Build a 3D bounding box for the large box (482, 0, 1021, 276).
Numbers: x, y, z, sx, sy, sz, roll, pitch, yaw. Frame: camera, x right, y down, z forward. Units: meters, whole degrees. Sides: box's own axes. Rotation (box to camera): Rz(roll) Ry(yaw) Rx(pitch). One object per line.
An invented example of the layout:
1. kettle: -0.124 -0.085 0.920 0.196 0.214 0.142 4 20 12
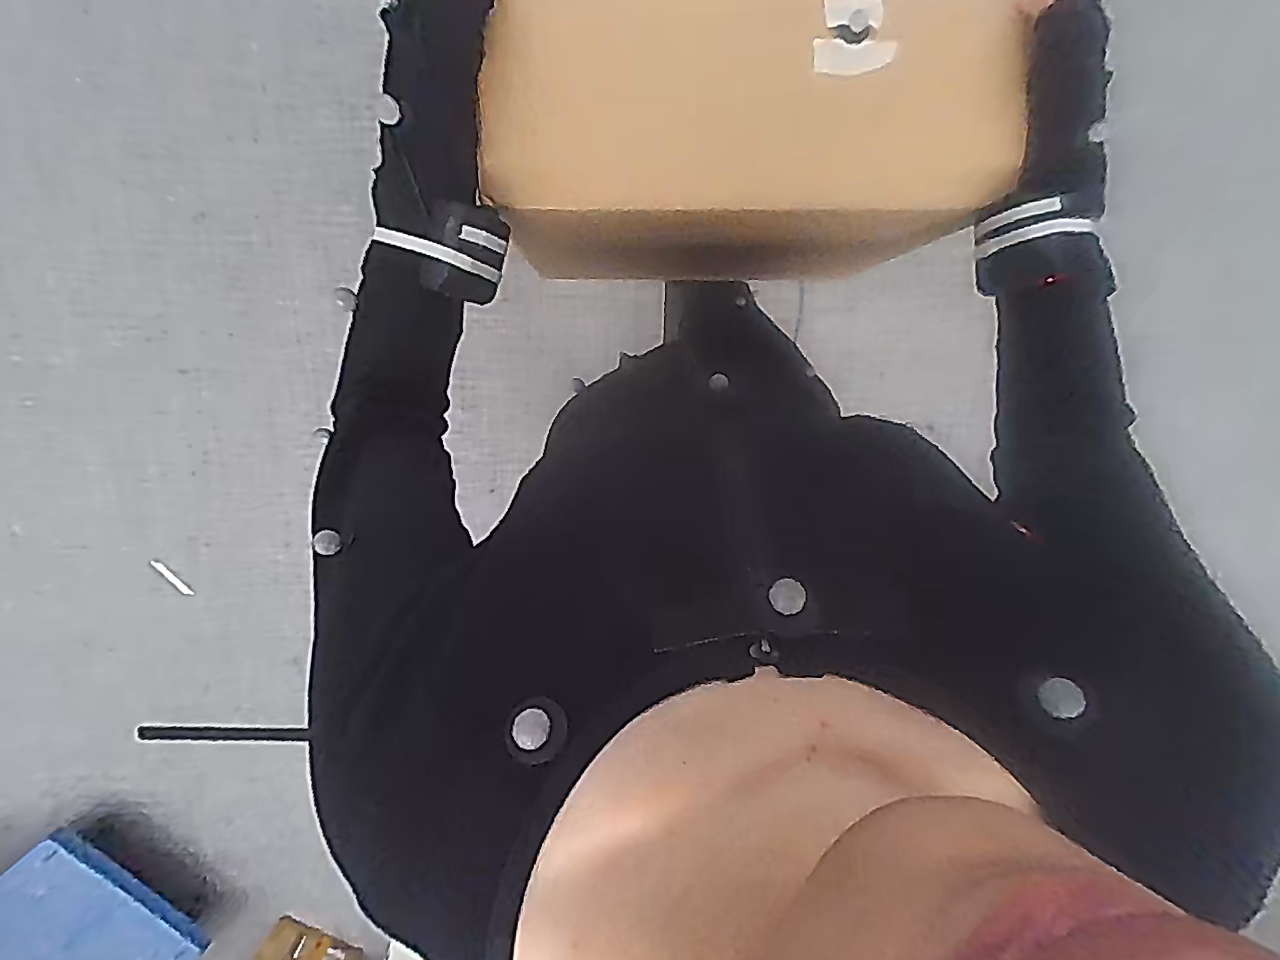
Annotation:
1. large box: 0.075 -0.397 0.535 0.408 0.320 0.320 -1 101 -2
